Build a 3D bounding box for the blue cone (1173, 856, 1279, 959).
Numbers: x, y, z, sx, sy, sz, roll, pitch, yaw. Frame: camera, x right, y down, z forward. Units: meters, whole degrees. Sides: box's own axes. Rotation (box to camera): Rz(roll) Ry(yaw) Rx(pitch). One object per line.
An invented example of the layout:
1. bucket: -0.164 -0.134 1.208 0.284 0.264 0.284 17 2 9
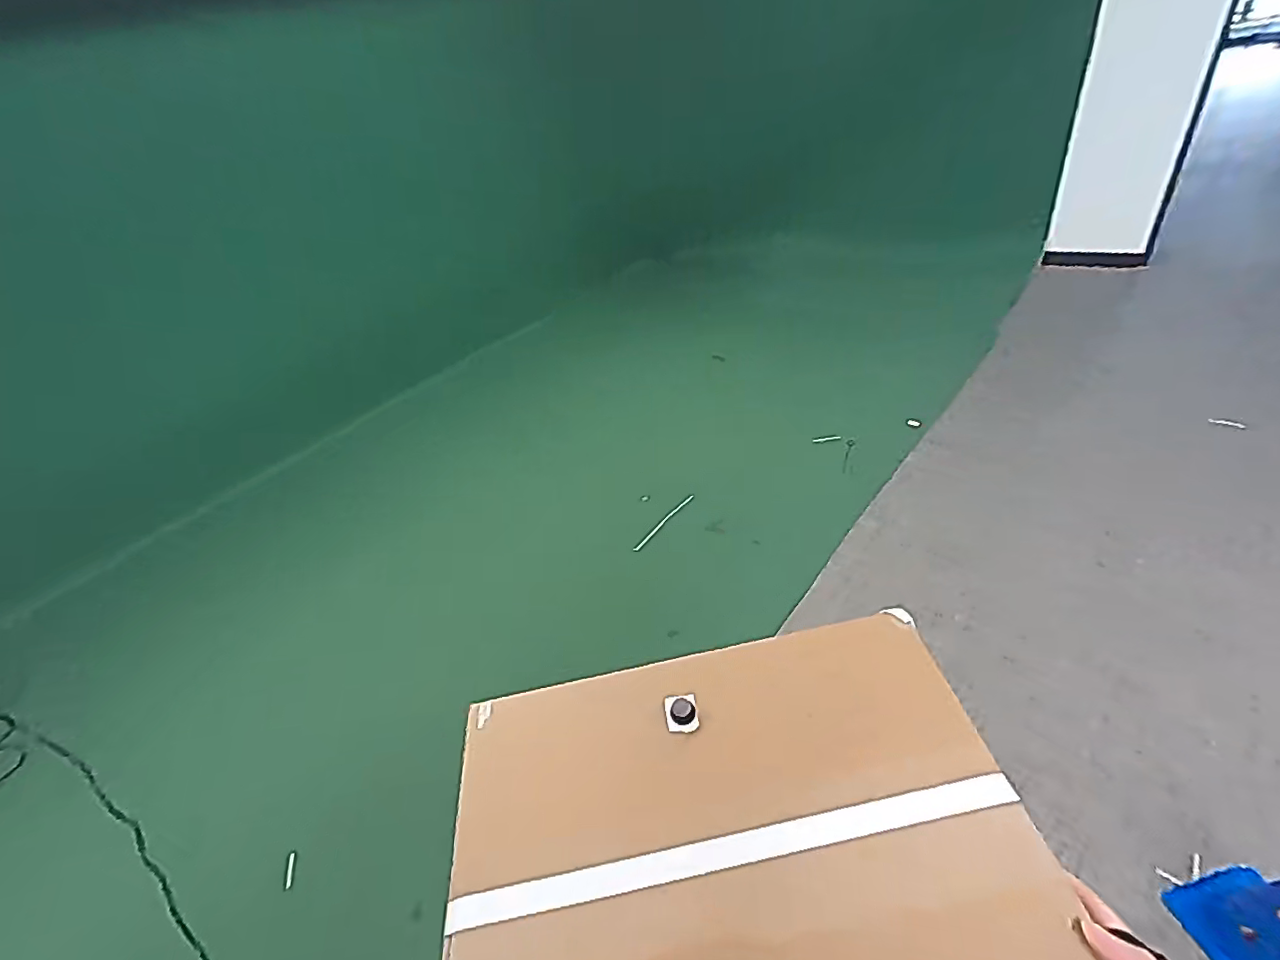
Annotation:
1. blue cone: 1.124 0.709 0.916 0.192 0.380 0.193 -18 37 -5
